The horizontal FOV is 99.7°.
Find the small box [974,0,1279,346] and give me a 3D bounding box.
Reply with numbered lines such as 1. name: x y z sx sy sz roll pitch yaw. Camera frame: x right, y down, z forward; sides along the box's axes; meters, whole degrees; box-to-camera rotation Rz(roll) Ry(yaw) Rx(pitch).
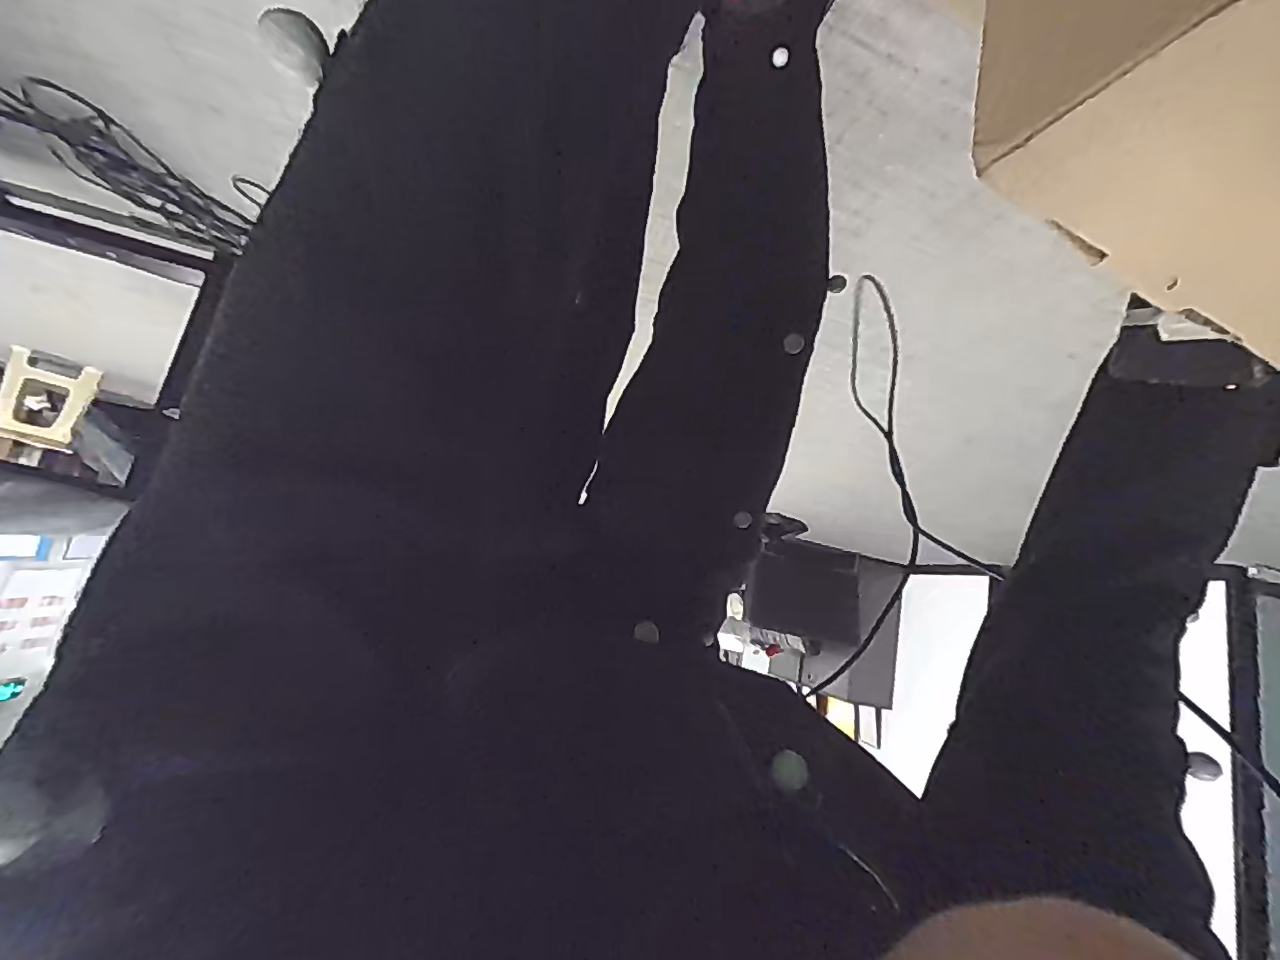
1. small box: 0.209 -0.157 0.108 0.168 0.176 0.179 15 167 -18
